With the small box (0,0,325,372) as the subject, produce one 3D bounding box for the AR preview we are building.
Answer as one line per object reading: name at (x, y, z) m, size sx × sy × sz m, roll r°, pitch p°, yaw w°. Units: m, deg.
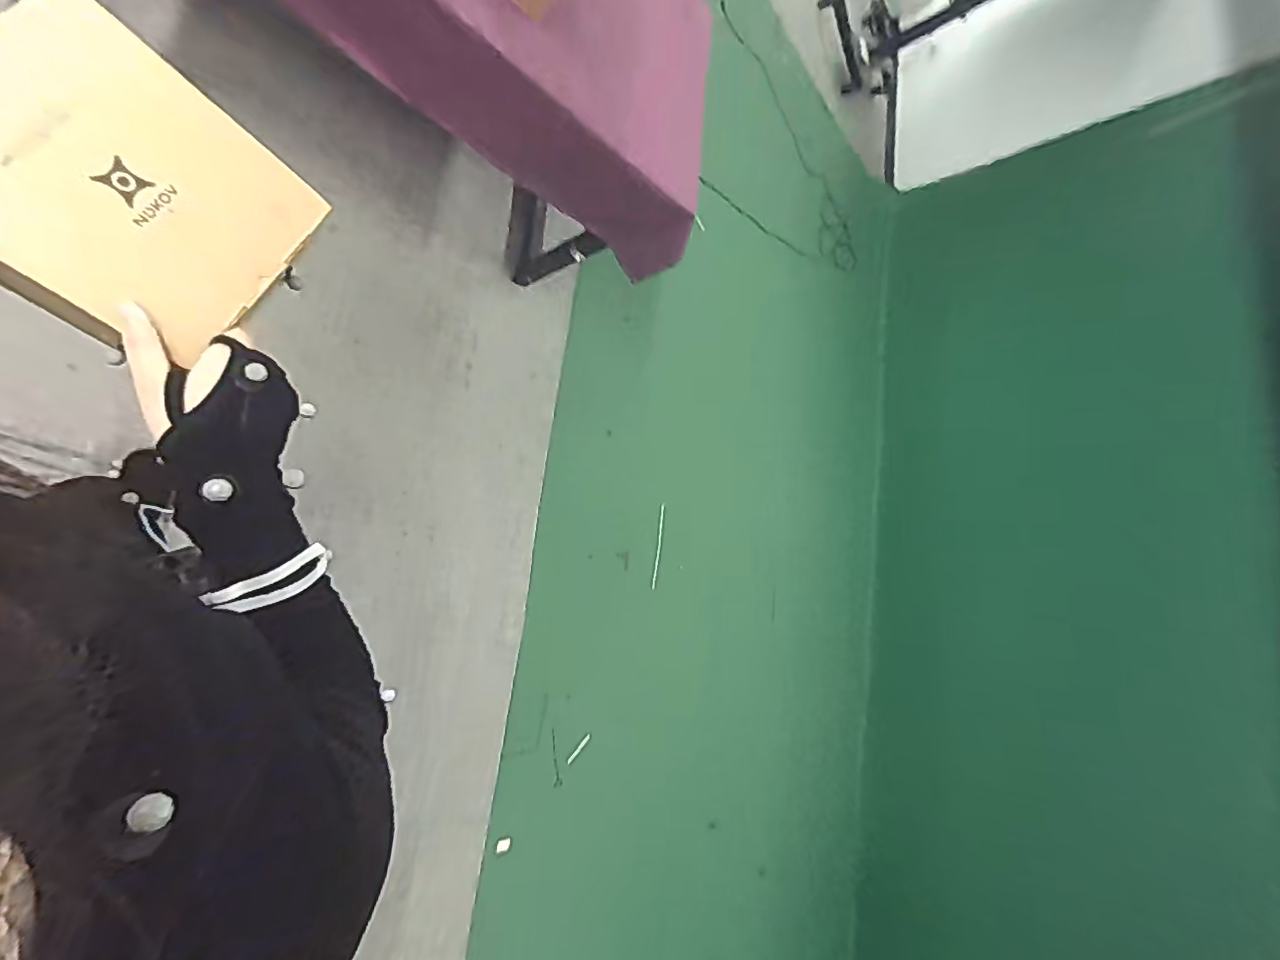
small box at (-0.385, -0.197, 0.408) m, size 0.179 × 0.176 × 0.168 m, roll 41°, pitch 67°, yaw -36°
